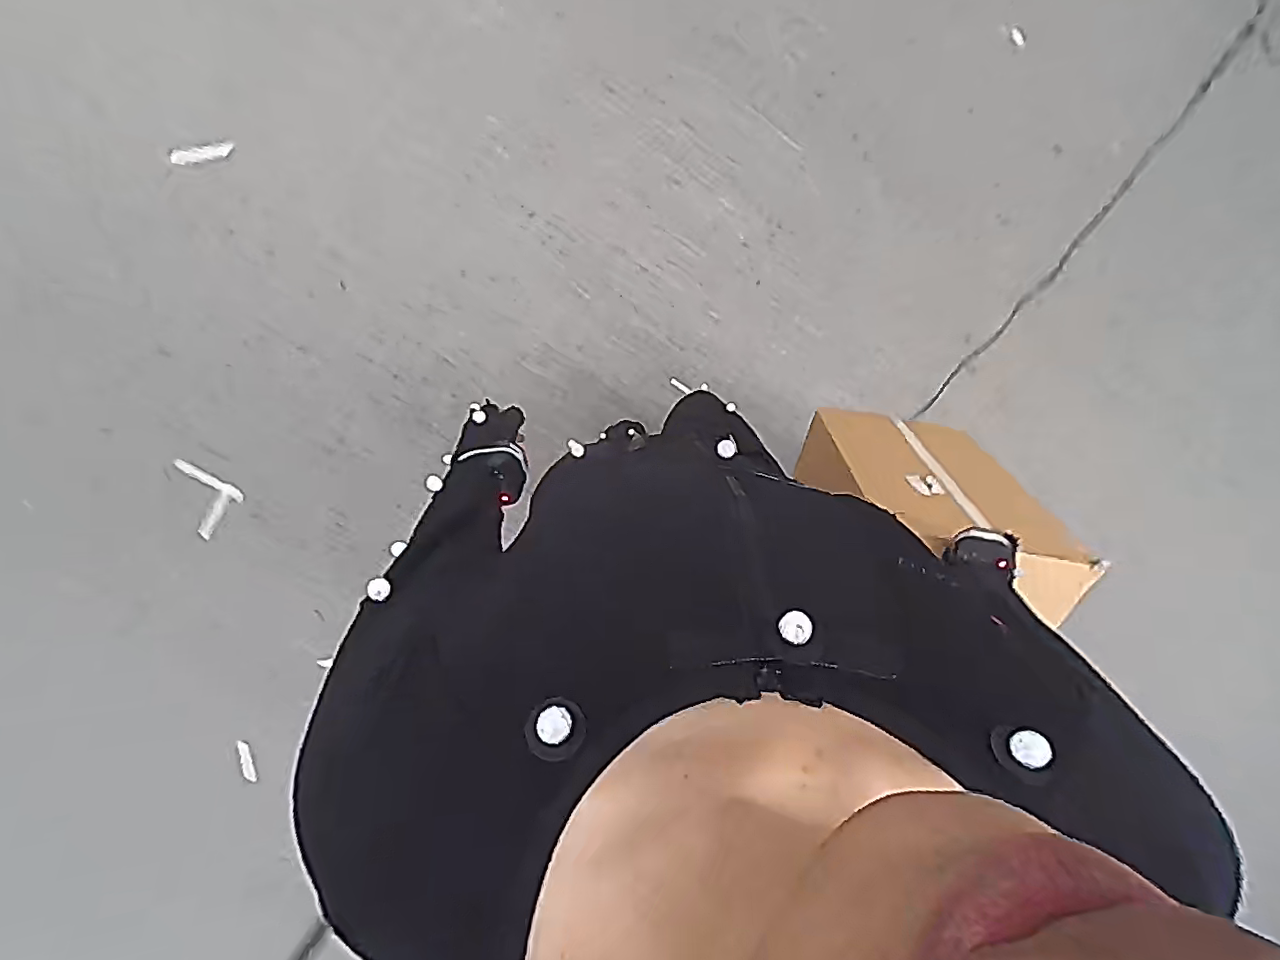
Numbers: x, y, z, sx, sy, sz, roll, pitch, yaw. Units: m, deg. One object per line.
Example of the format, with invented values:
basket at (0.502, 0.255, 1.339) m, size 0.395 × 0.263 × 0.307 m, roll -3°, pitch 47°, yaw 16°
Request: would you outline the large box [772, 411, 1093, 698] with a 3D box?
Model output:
large box at (0.464, 0.117, 0.989) m, size 0.320 × 0.408 × 0.320 m, roll 8°, pitch 123°, yaw -3°
